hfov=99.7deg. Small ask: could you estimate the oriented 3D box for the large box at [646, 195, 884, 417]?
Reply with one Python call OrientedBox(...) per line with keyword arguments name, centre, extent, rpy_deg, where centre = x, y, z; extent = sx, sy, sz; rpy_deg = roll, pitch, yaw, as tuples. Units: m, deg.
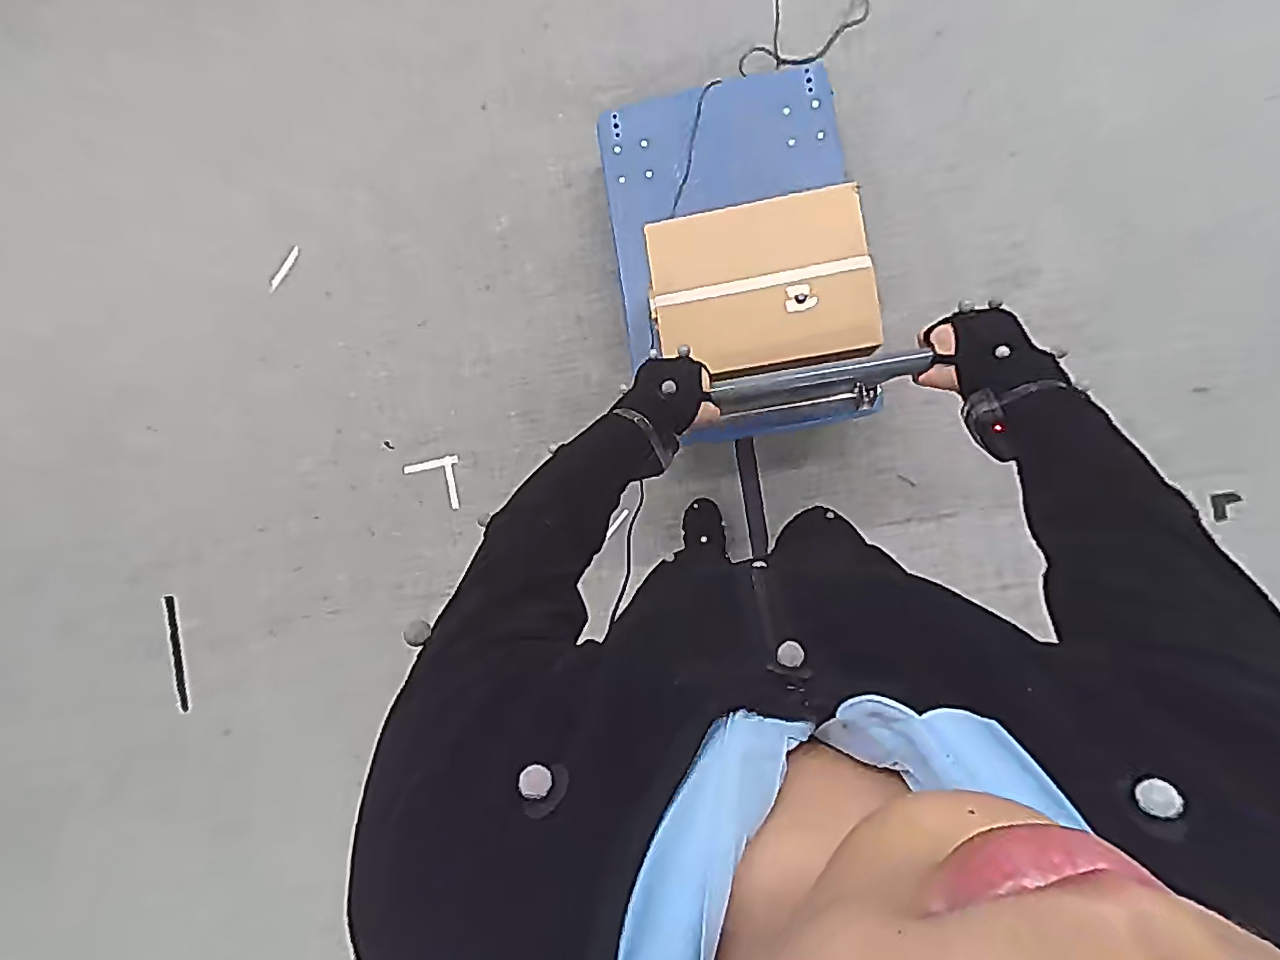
OrientedBox(name="large box", centre=(0.243, -0.340, 1.158), extent=(0.408, 0.320, 0.320), rpy_deg=(-9, 87, 6))
